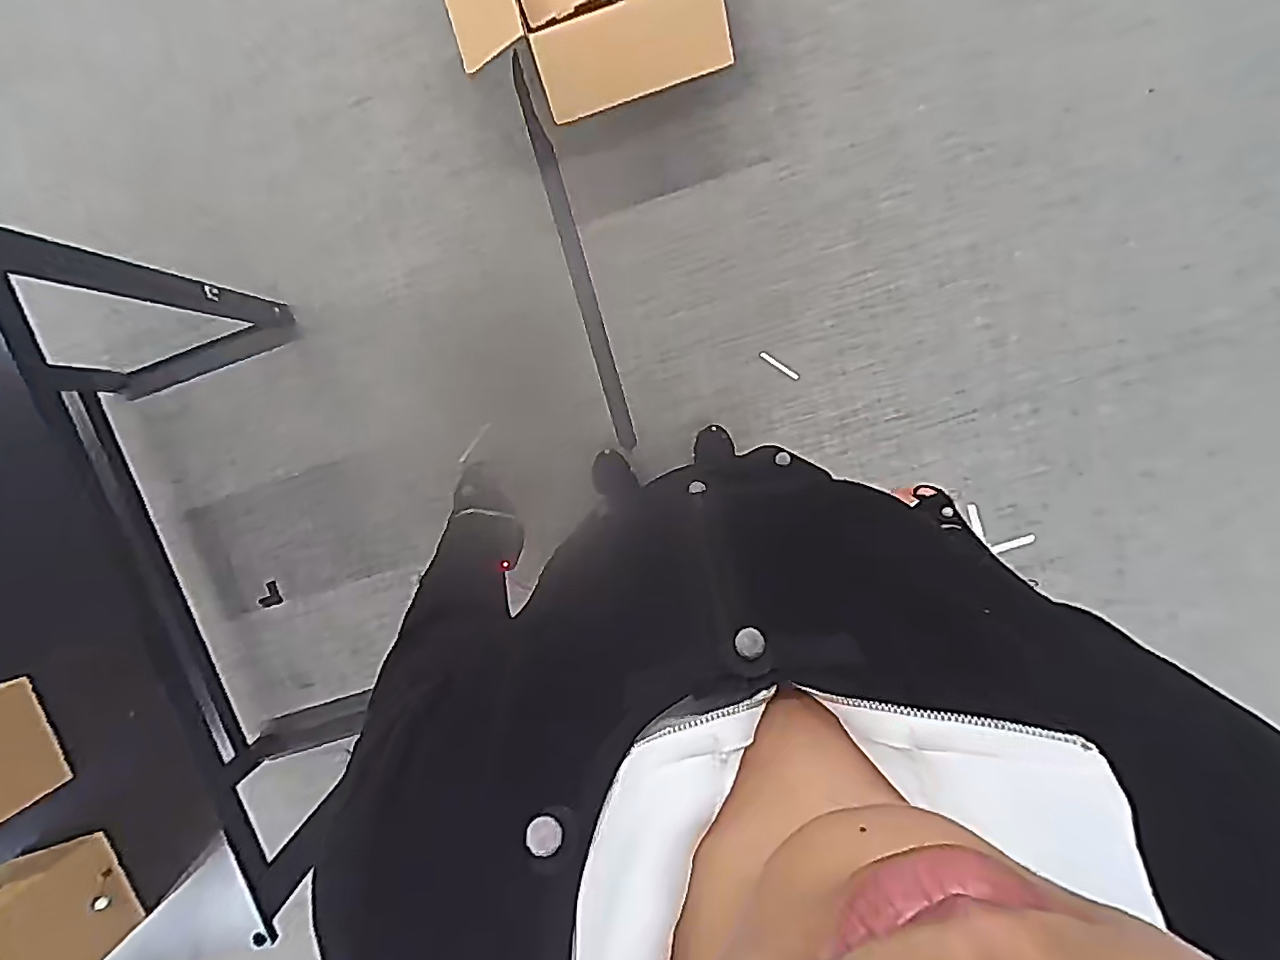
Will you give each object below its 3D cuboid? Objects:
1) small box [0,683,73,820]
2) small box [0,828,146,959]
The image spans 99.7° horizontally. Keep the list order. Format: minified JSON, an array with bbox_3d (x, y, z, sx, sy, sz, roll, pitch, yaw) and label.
[{"bbox_3d":[-0.989,0.412,0.766,0.168,0.176,0.179,-18,96,5],"label":"small box"},{"bbox_3d":[-0.906,0.664,0.797,0.179,0.176,0.168,-19,97,3],"label":"small box"}]
